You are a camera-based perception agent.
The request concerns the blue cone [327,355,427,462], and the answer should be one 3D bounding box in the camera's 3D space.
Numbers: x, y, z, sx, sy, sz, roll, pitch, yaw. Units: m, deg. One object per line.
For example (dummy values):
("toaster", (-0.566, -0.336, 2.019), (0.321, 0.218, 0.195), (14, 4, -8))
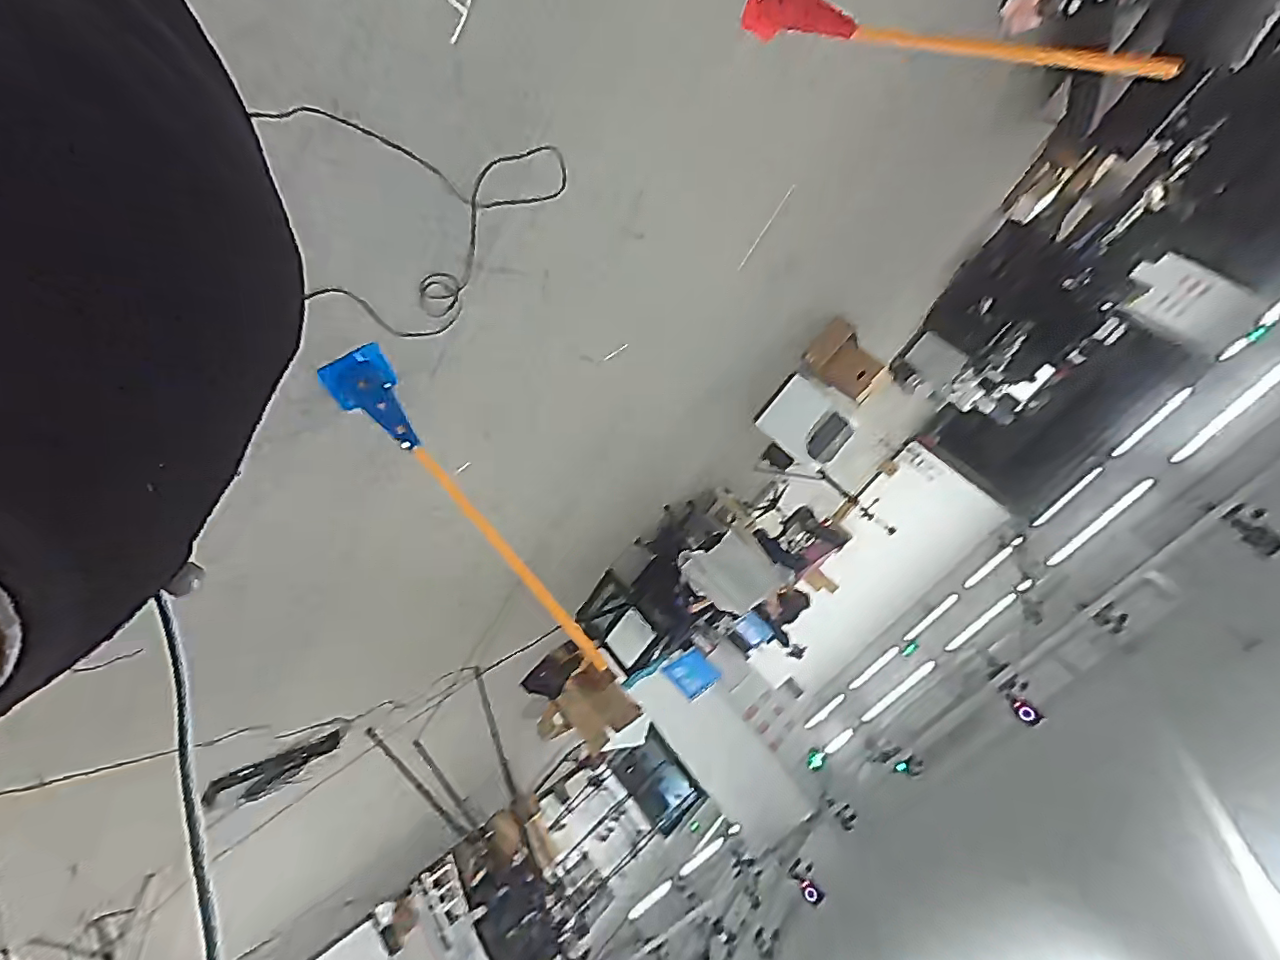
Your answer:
("blue cone", (-0.761, -0.195, 1.662), (0.192, 0.380, 0.193), (-38, 158, -18))
